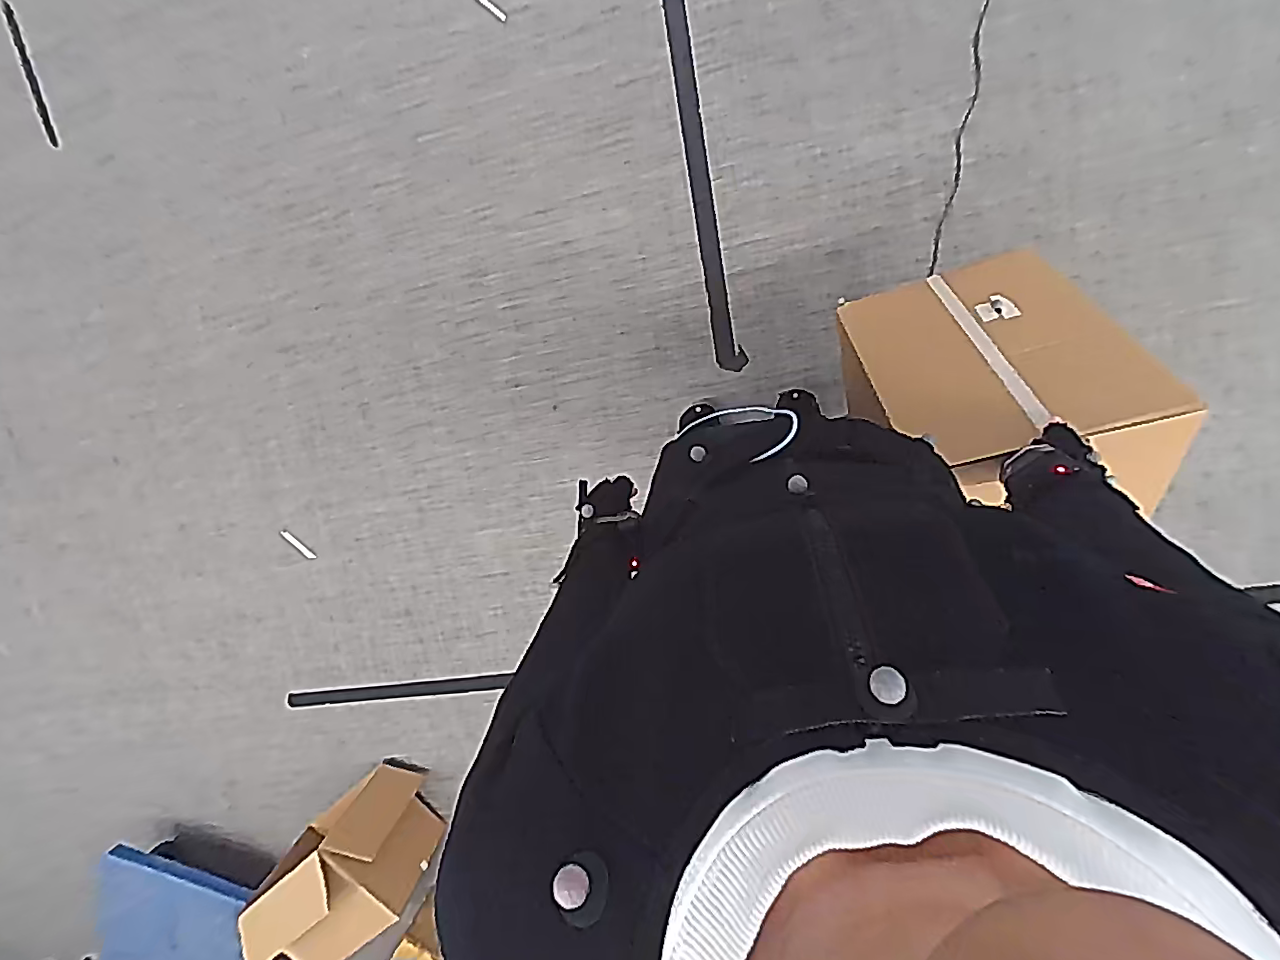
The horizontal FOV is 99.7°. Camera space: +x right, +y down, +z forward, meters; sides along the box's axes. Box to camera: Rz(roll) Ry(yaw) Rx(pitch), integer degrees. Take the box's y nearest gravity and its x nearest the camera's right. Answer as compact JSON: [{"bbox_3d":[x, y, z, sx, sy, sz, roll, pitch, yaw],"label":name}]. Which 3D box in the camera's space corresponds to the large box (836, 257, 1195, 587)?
[{"bbox_3d":[0.548,-0.093,0.895,0.320,0.408,0.320,-14,135,13],"label":"large box"}]
